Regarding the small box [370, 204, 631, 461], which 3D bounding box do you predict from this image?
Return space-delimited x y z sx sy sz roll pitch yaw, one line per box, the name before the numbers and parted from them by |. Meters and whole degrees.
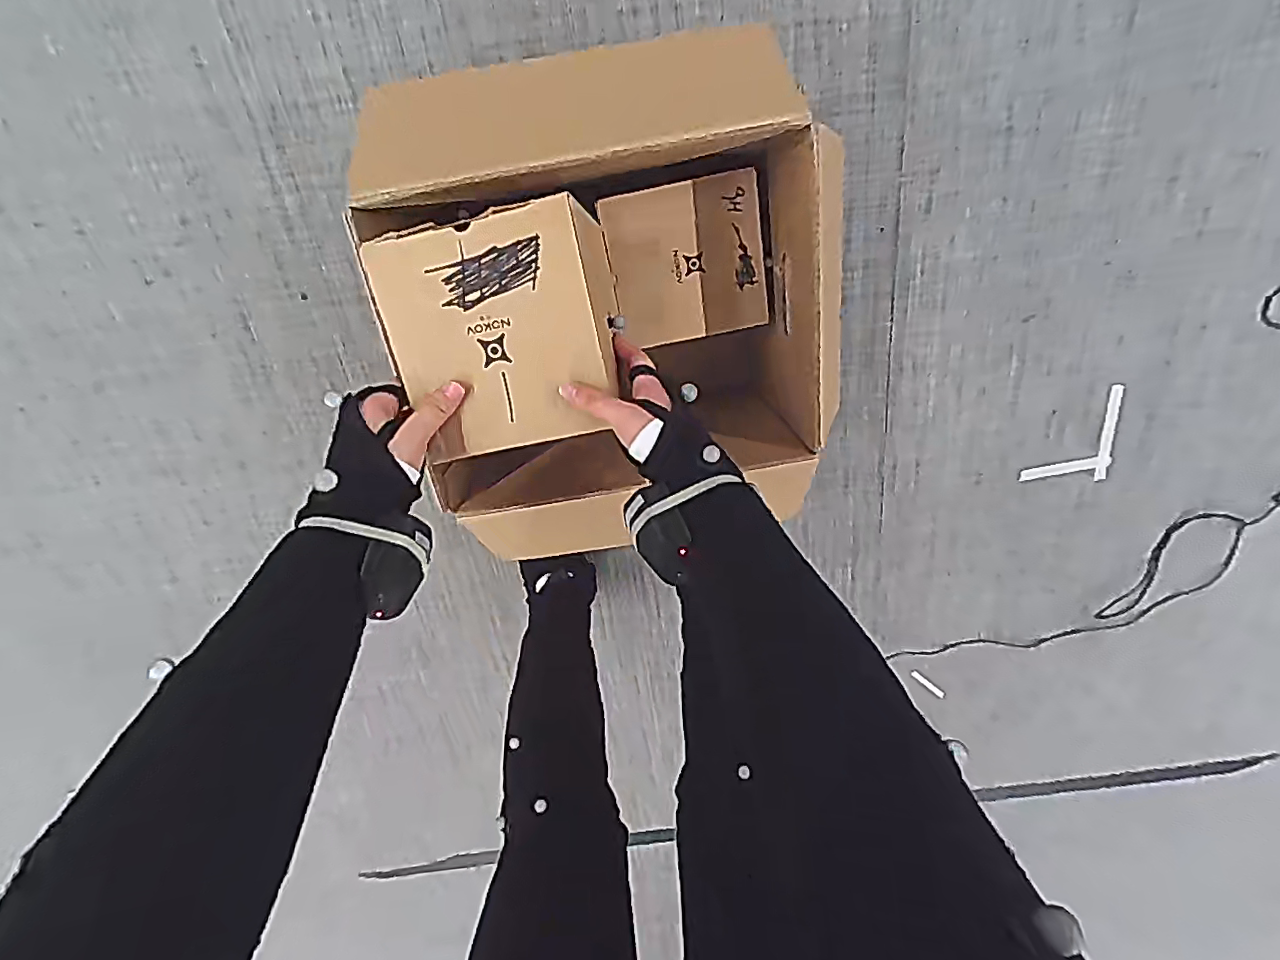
small box | -0.108 -0.134 0.504 0.168 0.176 0.179 -9 108 7
